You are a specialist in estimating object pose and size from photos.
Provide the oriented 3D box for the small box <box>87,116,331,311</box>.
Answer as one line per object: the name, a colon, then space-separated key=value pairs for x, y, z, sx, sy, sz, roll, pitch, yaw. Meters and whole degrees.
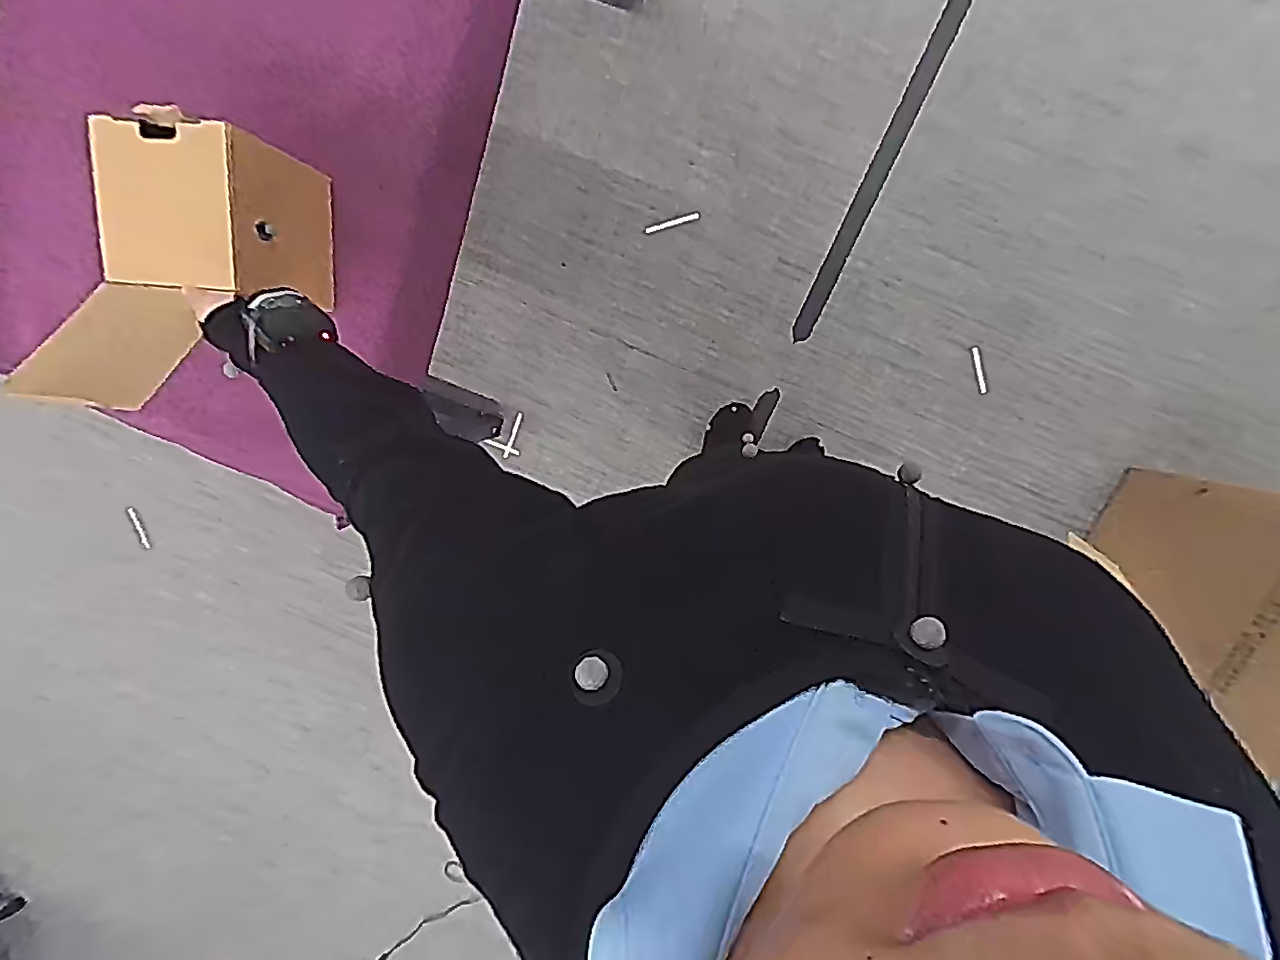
small box: x=-0.507 y=-0.309 z=0.663 sx=0.168 sy=0.176 sz=0.179 roll=6 pitch=101 yaw=5
